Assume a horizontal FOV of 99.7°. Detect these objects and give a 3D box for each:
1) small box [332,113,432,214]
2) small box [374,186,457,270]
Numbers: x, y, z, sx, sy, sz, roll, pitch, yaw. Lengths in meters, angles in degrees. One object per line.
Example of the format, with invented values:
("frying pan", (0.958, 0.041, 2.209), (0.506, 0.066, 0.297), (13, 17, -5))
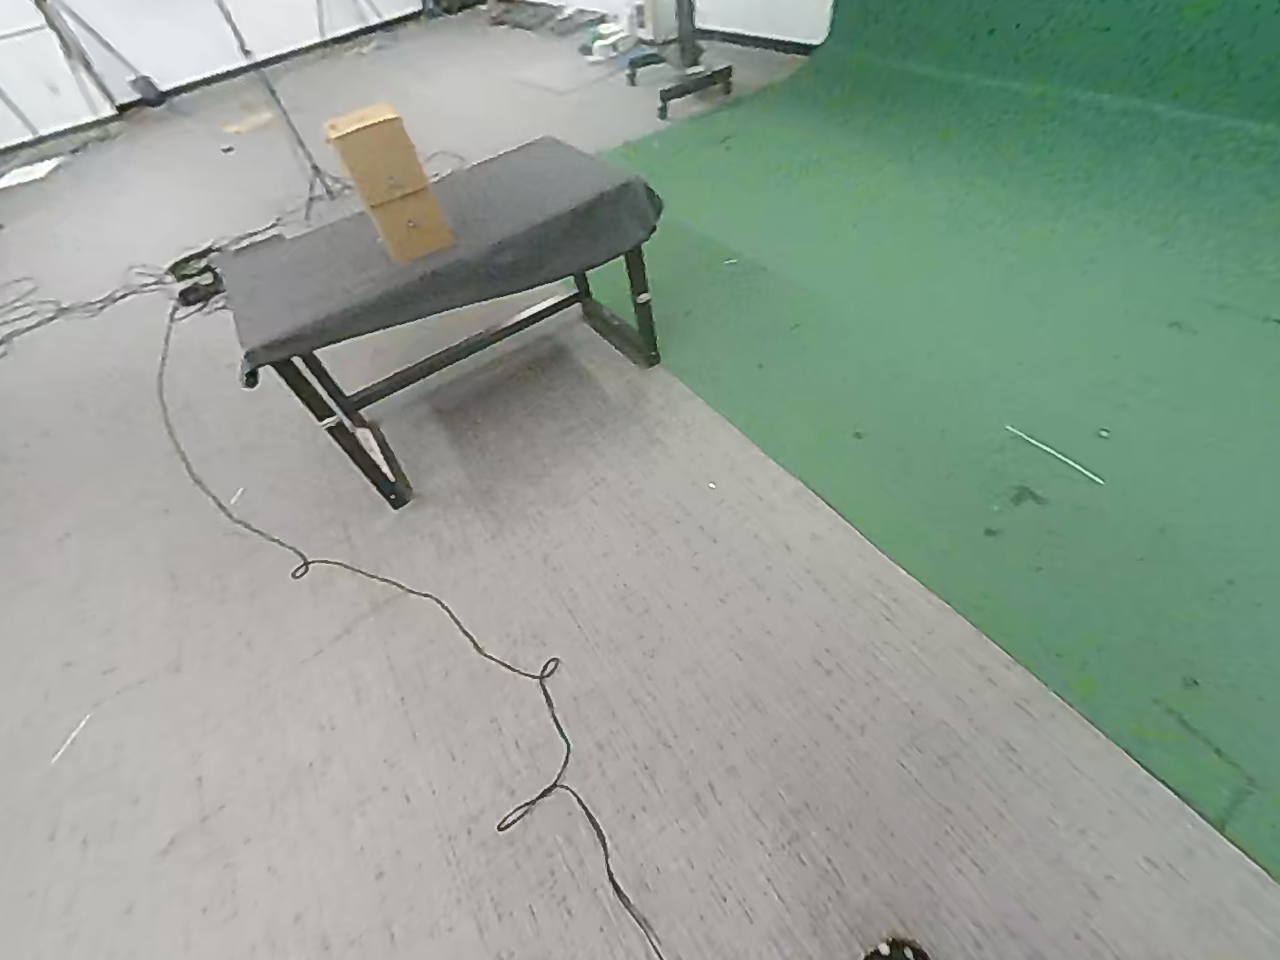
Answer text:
("small box", (-0.671, -0.833, 1.423), (0.179, 0.176, 0.168), (-29, 50, -14))
("small box", (-0.647, -0.736, 1.552), (0.179, 0.176, 0.168), (-30, 51, -13))
